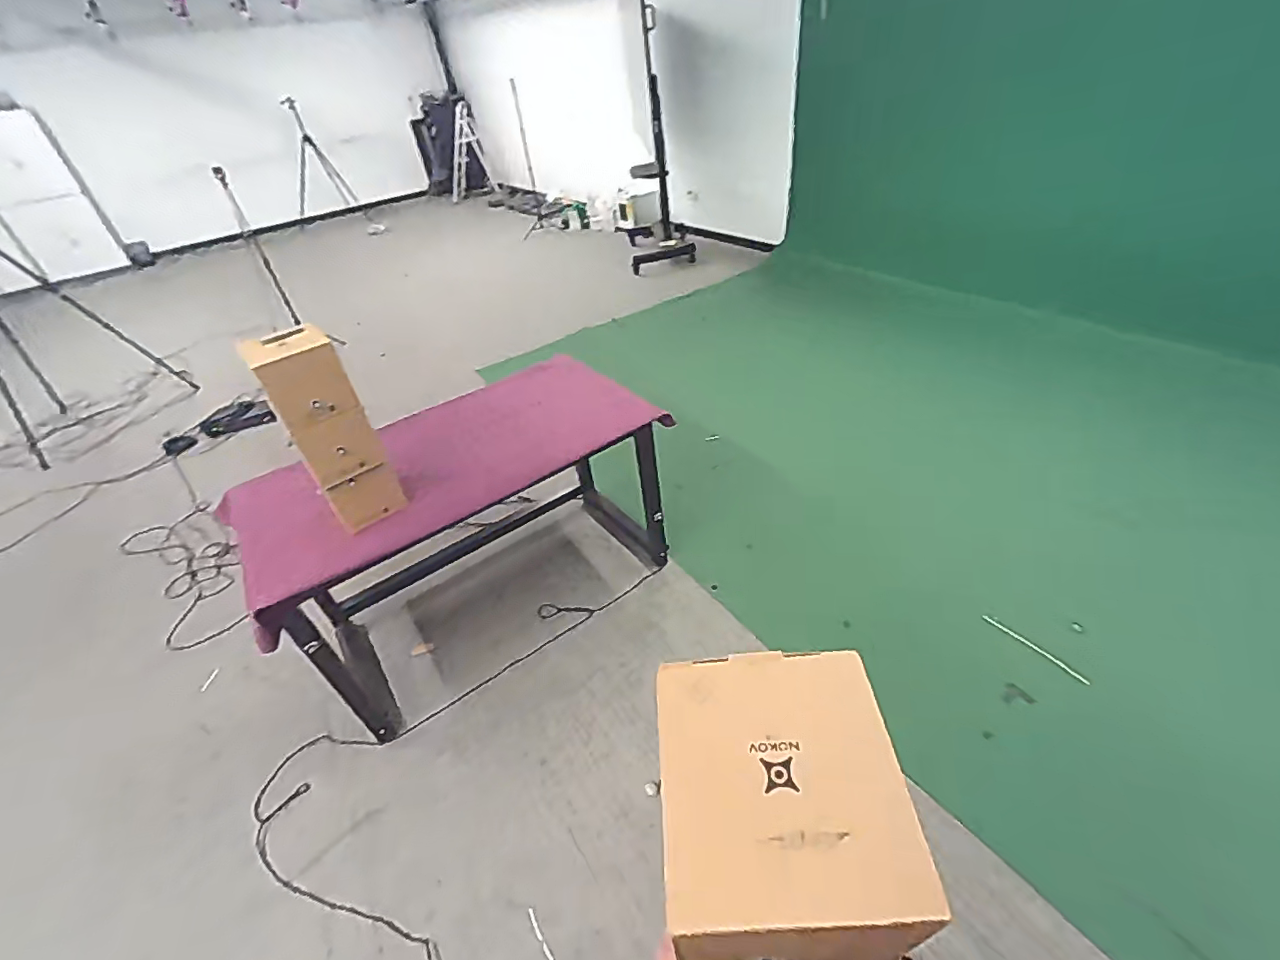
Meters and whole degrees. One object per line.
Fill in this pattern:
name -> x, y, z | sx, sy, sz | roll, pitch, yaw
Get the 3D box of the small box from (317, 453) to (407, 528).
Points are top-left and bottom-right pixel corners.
small box -> -0.762, -0.001, 1.459 | 0.168, 0.176, 0.179 | -33, 45, -27

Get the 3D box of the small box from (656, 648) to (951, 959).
small box -> 0.099, 0.255, 0.420 | 0.168, 0.176, 0.179 | -5, 42, 3

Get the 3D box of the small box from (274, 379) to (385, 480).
small box -> -0.767, -0.122, 1.345 | 0.168, 0.176, 0.179 | -31, 44, -28
